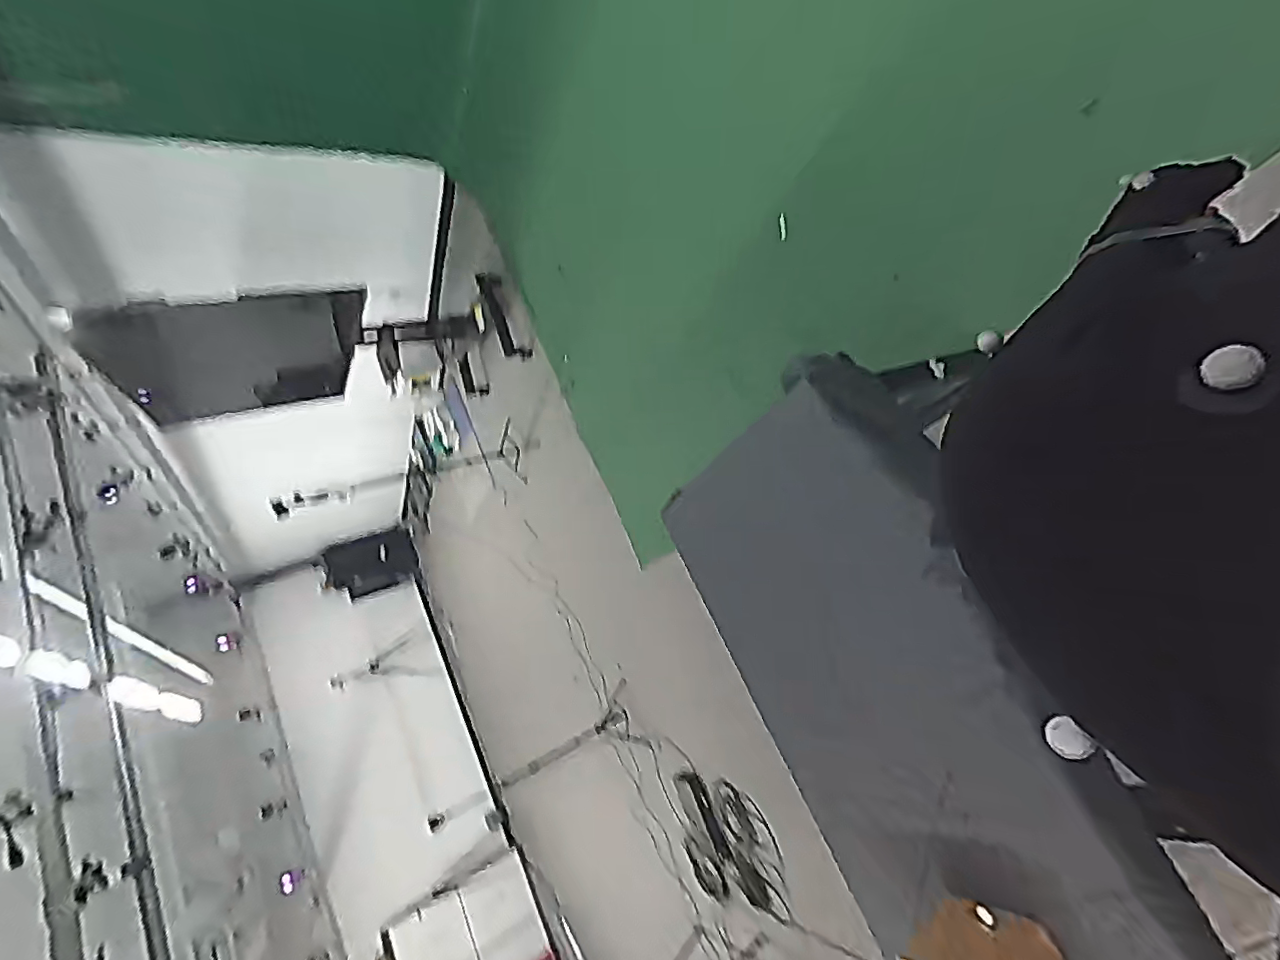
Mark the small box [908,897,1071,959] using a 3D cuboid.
[{"bbox_3d":[0.567,0.805,0.836,0.168,0.176,0.179,-42,67,54],"label":"small box"}]
